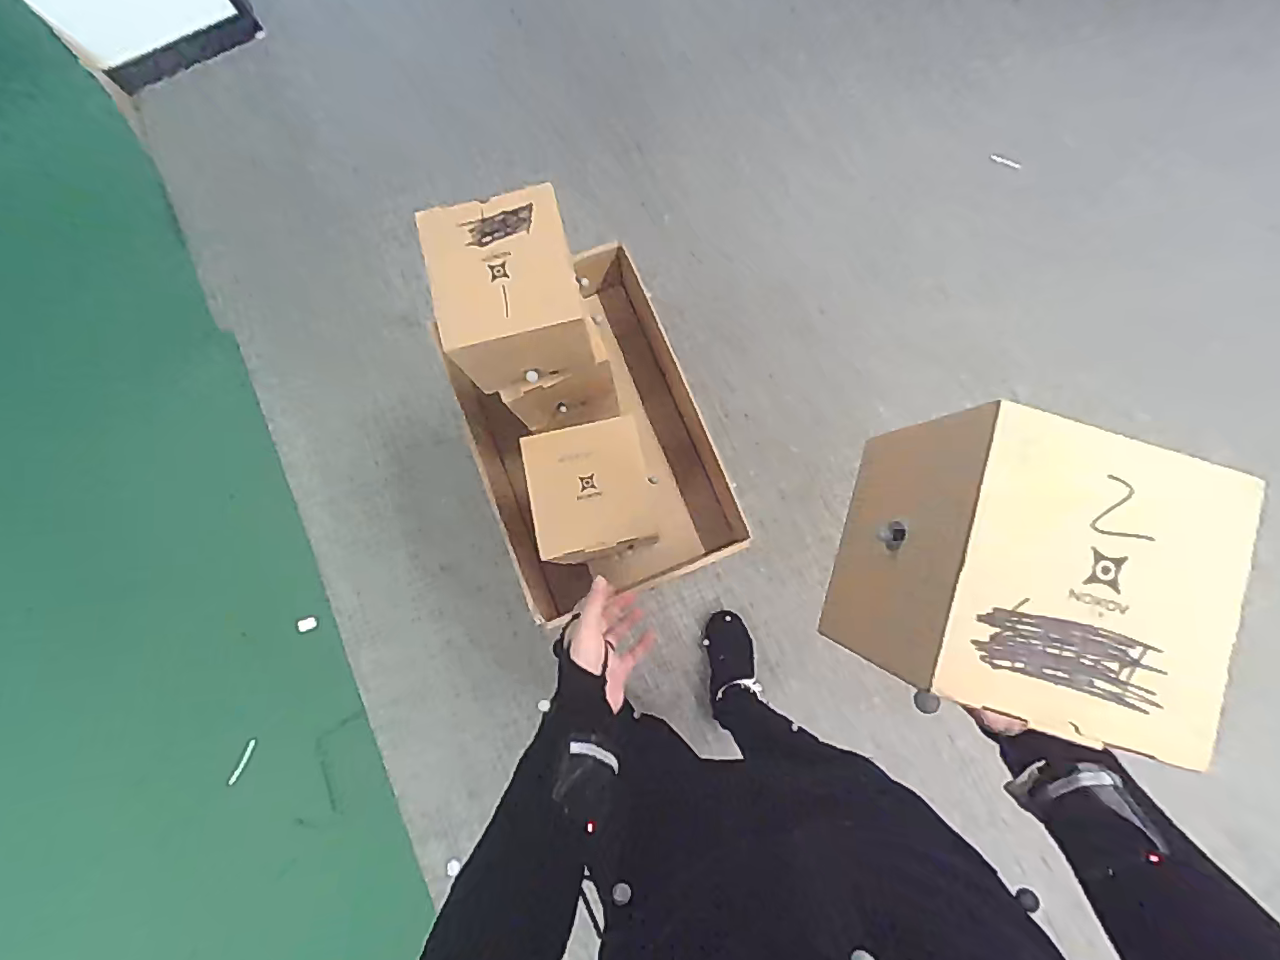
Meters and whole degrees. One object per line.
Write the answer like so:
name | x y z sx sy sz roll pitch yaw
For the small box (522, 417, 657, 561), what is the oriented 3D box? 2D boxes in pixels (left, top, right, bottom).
small box | -0.068 0.024 0.818 0.168 0.176 0.179 -11 78 0

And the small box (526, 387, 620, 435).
small box | -0.146 -0.183 1.027 0.168 0.176 0.179 -23 81 -1

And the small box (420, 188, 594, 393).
small box | -0.162 -0.234 0.705 0.168 0.176 0.179 -14 82 -1

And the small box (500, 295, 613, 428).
small box | -0.152 -0.206 0.866 0.168 0.176 0.179 -23 82 -3
